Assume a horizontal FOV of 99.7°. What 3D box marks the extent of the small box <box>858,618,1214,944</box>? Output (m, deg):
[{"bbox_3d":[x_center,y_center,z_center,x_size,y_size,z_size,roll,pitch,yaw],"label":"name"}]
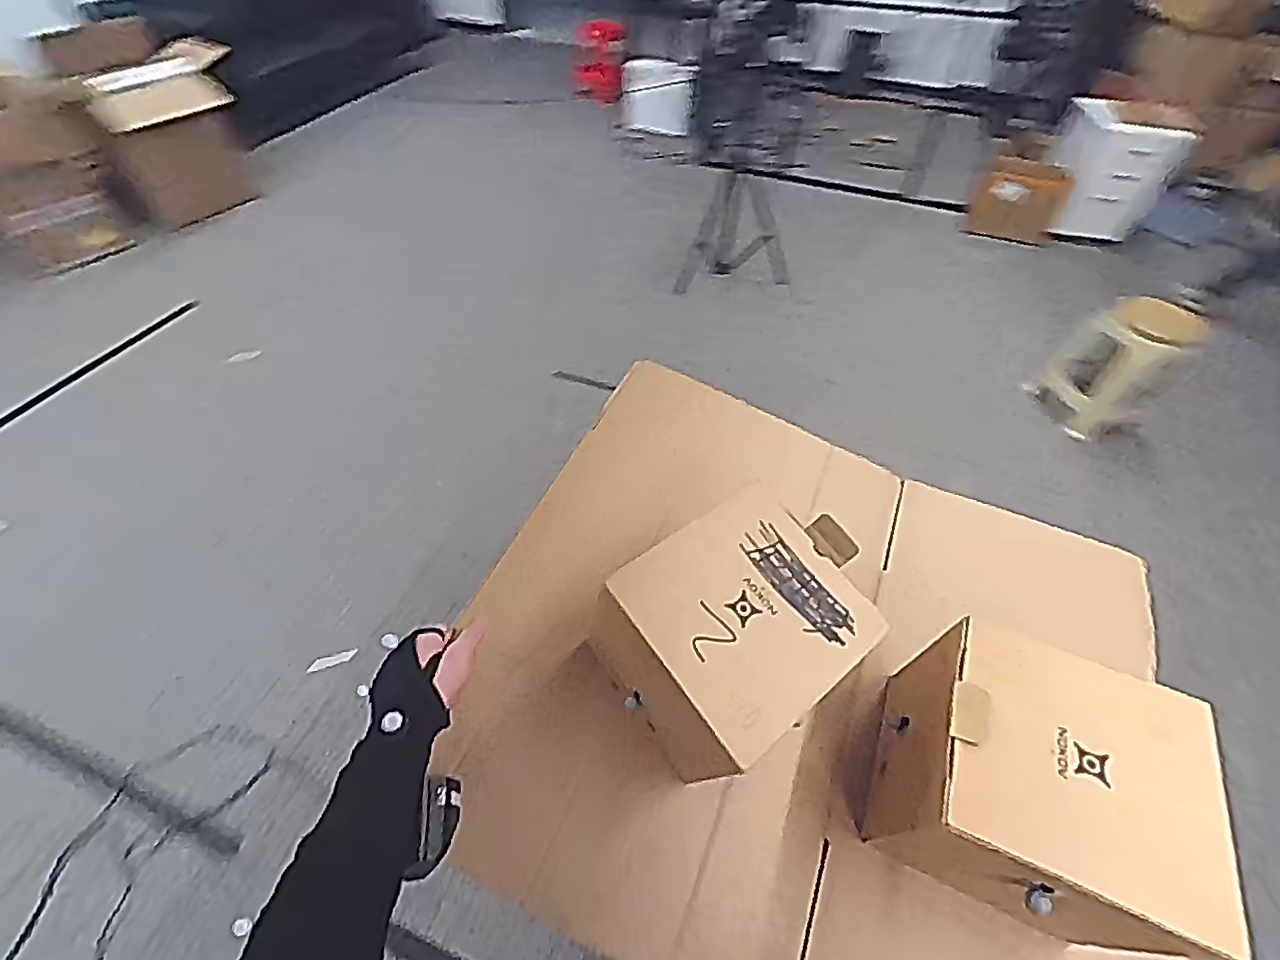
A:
[{"bbox_3d":[0.315,0.251,0.467,0.179,0.176,0.168,19,56,14],"label":"small box"}]
